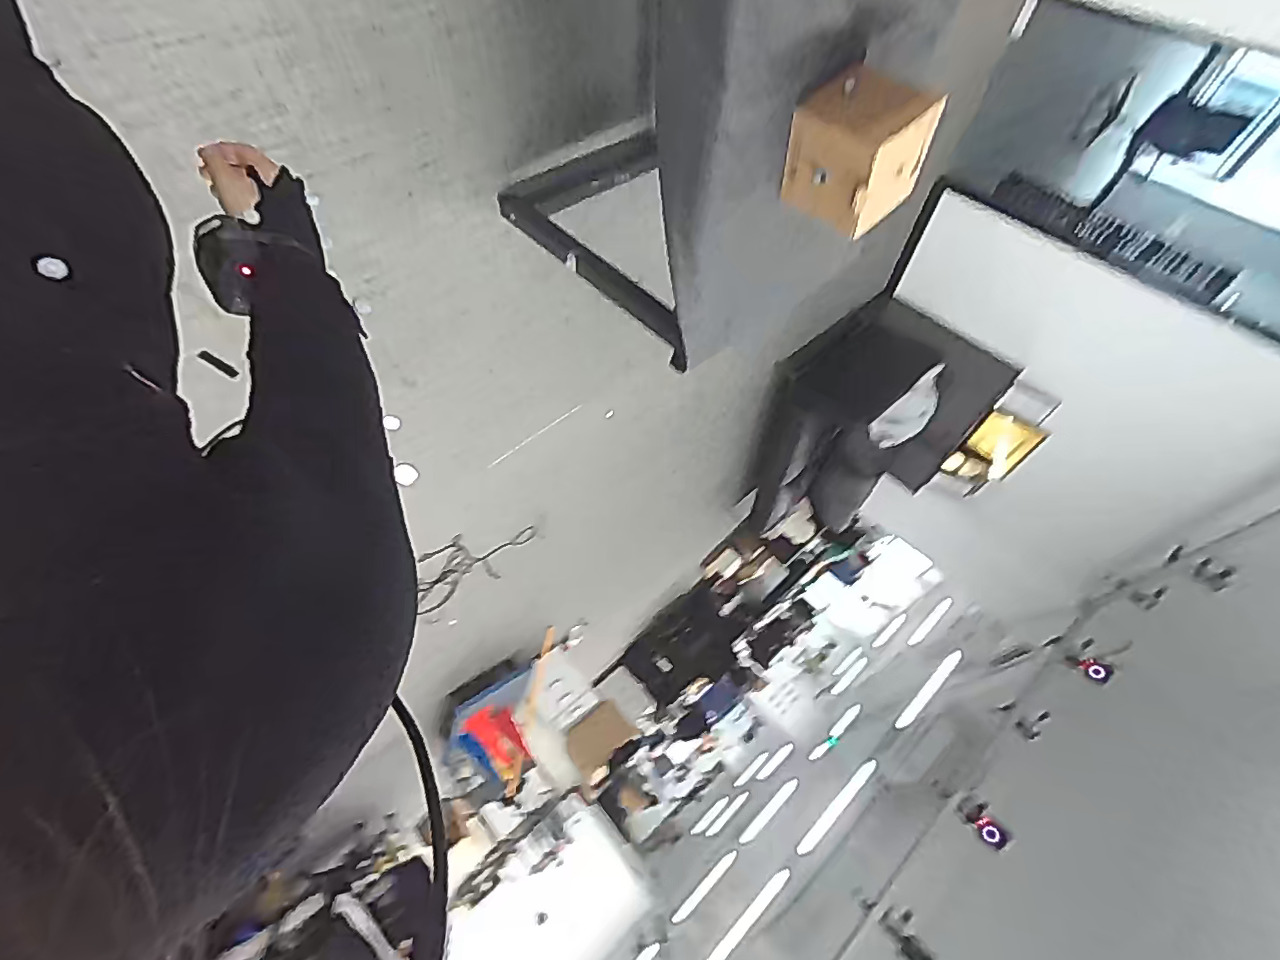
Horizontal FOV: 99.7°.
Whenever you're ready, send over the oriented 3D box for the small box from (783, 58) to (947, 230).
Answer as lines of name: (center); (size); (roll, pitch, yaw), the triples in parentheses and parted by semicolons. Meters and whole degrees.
small box: (0.370, -0.574, 0.925); (0.179, 0.176, 0.168); (-40, 156, -14)
